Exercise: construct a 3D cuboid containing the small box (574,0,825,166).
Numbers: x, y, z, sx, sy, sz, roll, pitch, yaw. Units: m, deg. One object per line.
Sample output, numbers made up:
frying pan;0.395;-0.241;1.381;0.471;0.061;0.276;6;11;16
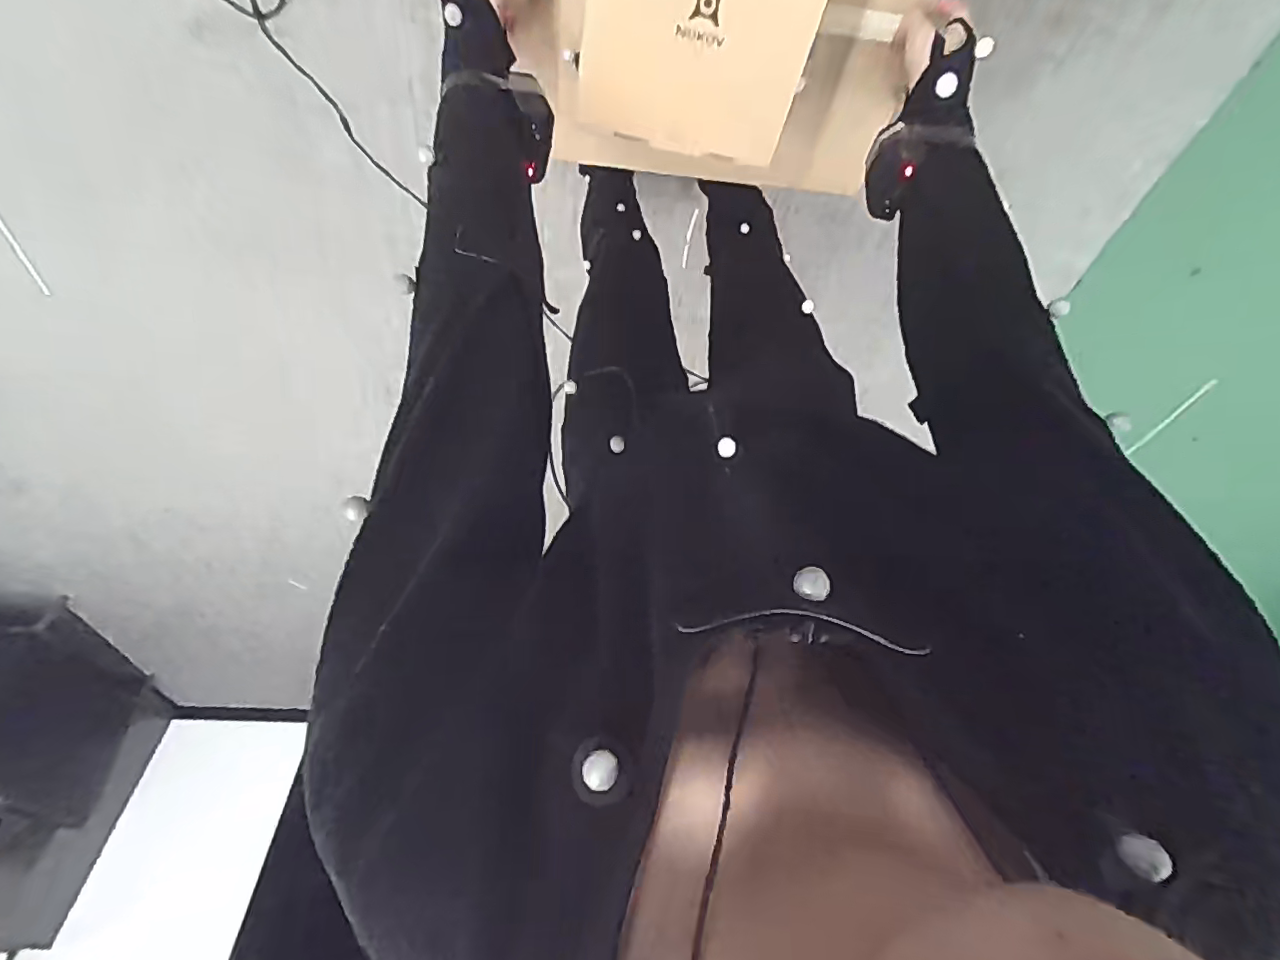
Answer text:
small box;0.039;-0.385;0.425;0.168;0.176;0.179;5;139;-10
